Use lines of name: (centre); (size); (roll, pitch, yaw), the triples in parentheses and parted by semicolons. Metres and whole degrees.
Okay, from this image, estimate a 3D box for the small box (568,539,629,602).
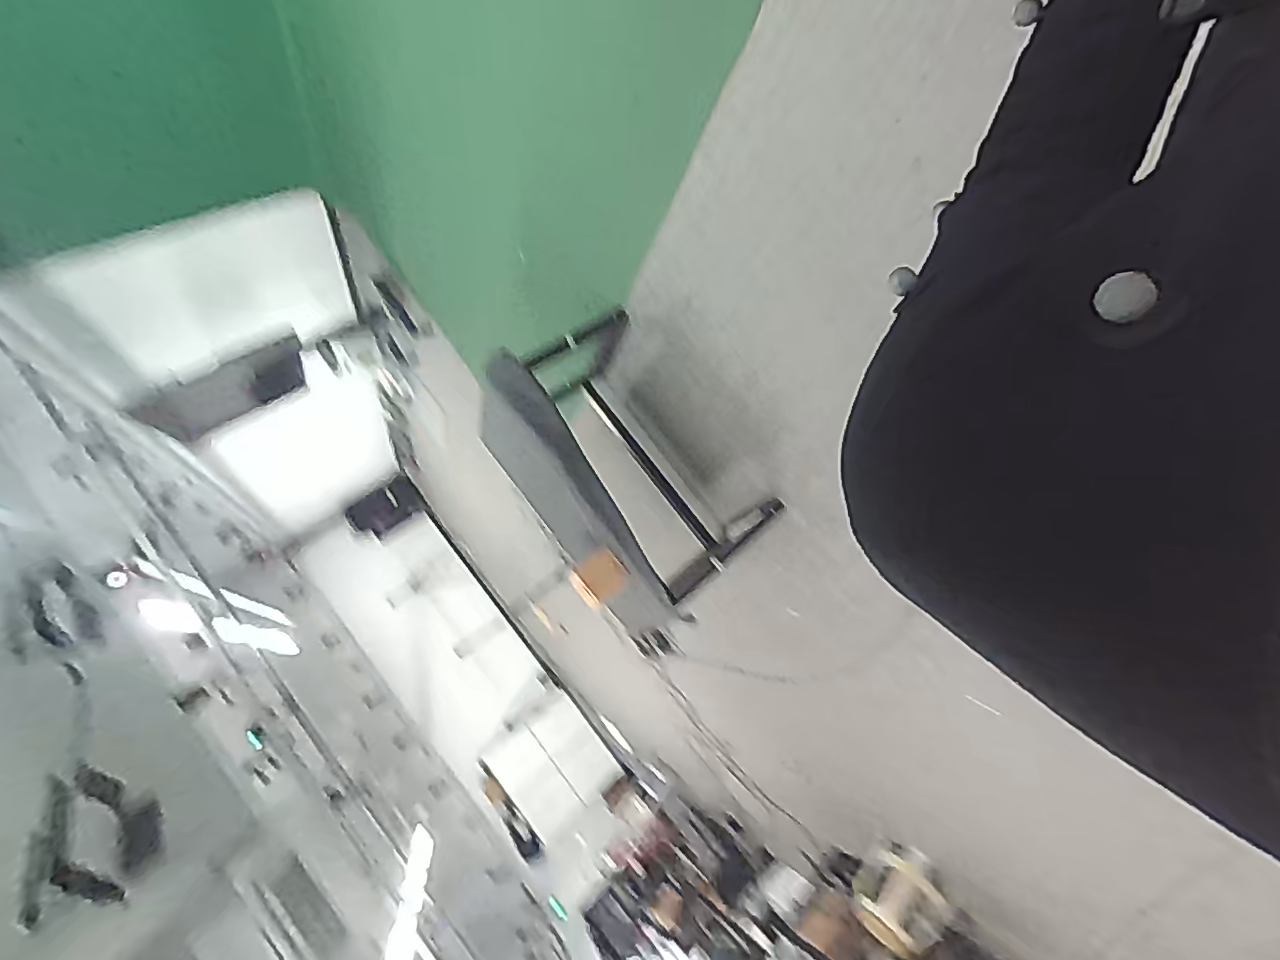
small box: (-0.163, 0.362, 2.166); (0.168, 0.176, 0.179); (49, 156, 9)
